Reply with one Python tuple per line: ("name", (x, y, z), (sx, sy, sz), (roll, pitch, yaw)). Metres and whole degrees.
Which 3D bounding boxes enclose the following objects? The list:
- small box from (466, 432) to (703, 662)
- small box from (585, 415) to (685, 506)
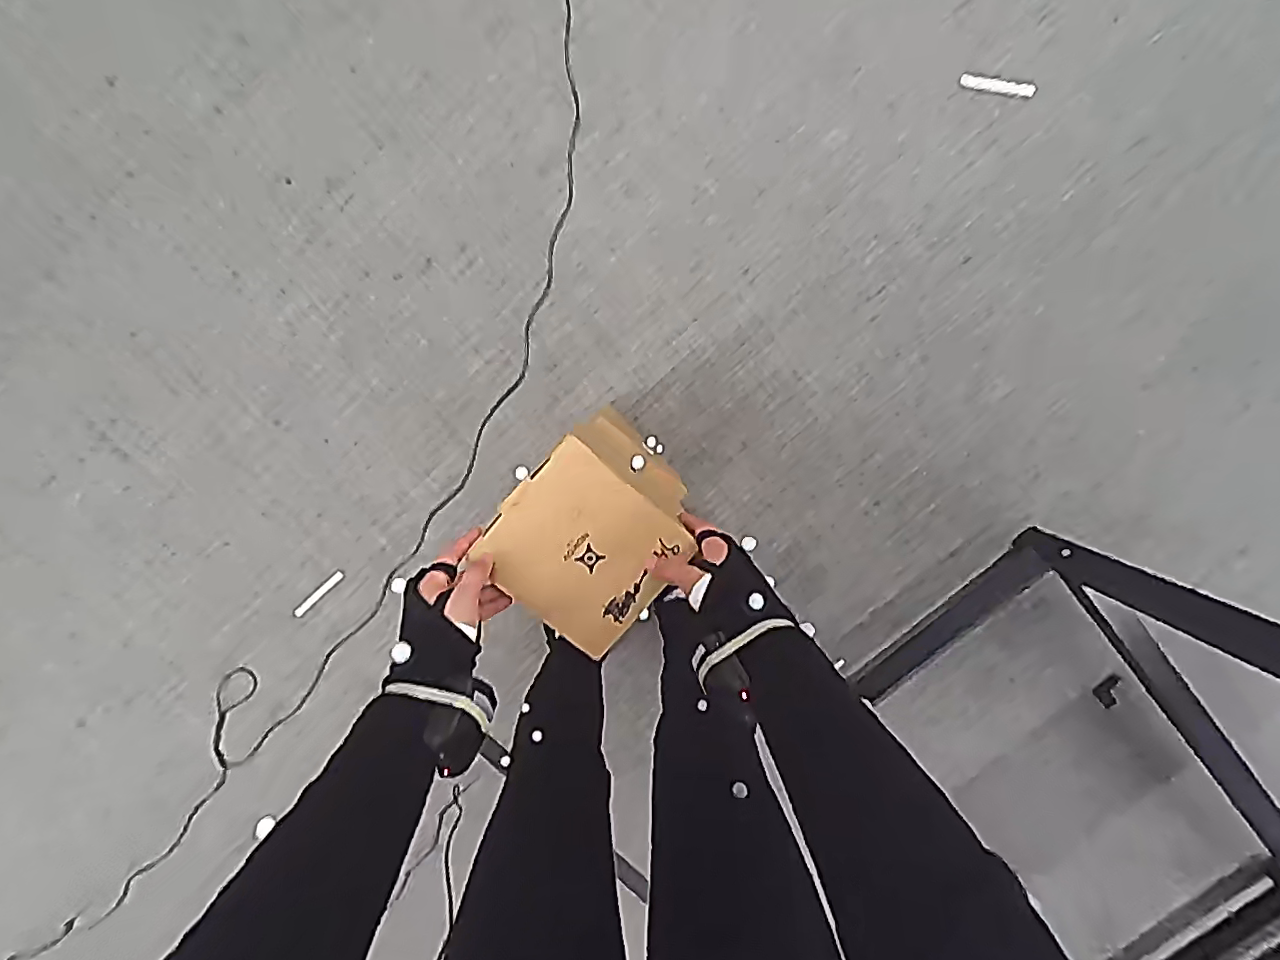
("small box", (-0.058, 0.060, 0.608), (0.179, 0.176, 0.168), (40, 96, -8))
("small box", (-0.053, 0.017, 0.839), (0.168, 0.176, 0.179), (40, 96, -10))
